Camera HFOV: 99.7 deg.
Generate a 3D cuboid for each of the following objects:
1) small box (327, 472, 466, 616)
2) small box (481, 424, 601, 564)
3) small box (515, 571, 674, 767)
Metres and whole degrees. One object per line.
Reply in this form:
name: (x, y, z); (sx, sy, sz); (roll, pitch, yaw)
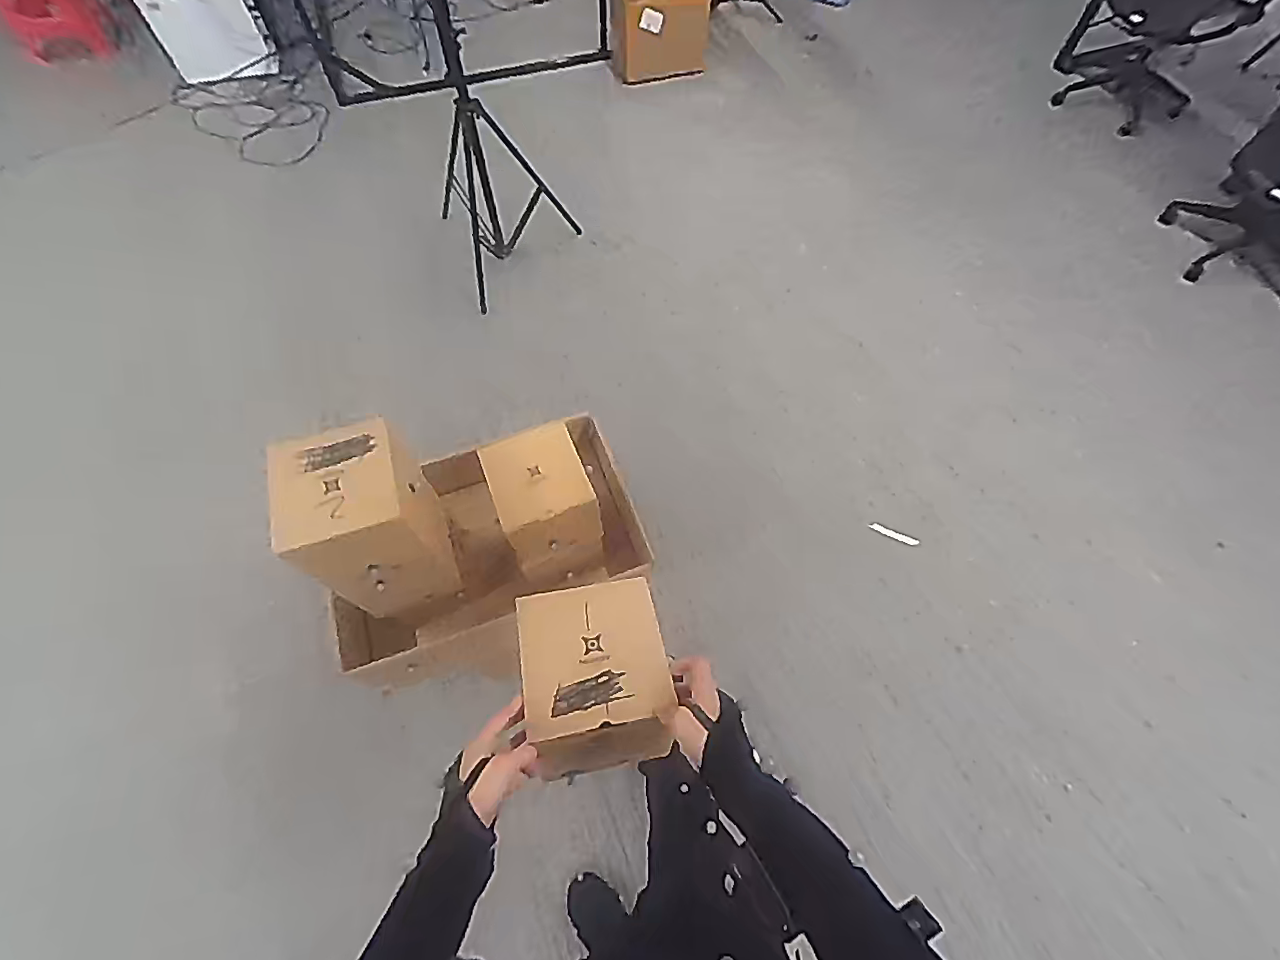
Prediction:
small box: (-0.427, 0.118, 0.961); (0.168, 0.176, 0.179); (-18, 62, -9)
small box: (-0.179, 0.030, 1.010); (0.168, 0.176, 0.179); (-21, 65, -11)
small box: (-0.061, 0.244, 0.684); (0.168, 0.176, 0.179); (-8, 49, -10)
